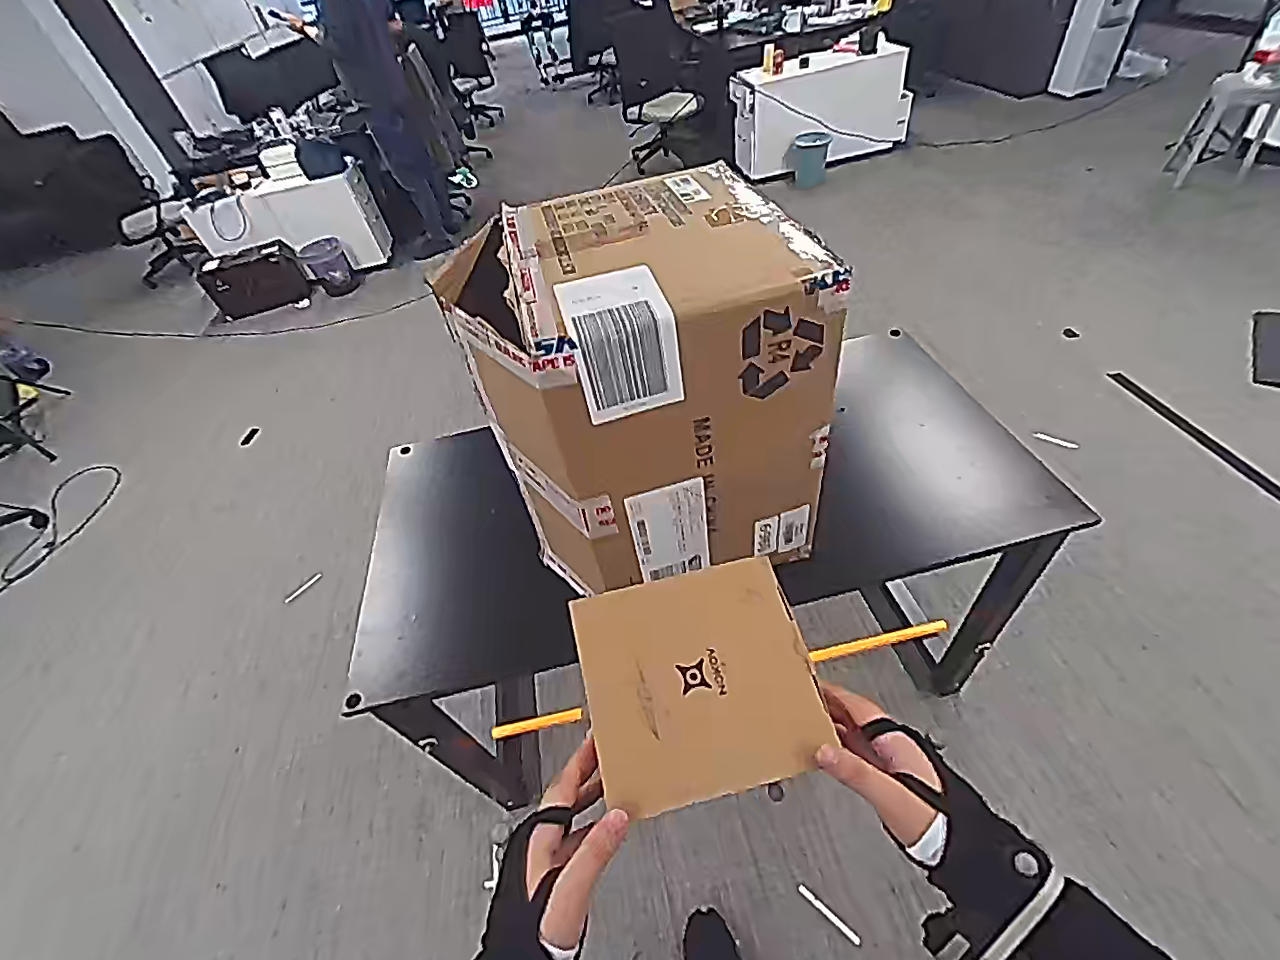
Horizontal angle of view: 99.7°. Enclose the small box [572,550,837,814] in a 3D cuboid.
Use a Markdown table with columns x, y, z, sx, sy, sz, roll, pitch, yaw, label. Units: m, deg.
| x | y | z | sx | sy | sz | roll | pitch | yaw | label |
| --- | --- | --- | --- | --- | --- | --- | --- | --- | --- |
| 0.046 | 0.187 | 0.495 | 0.179 | 0.176 | 0.168 | -14 | 60 | -5 | small box |
